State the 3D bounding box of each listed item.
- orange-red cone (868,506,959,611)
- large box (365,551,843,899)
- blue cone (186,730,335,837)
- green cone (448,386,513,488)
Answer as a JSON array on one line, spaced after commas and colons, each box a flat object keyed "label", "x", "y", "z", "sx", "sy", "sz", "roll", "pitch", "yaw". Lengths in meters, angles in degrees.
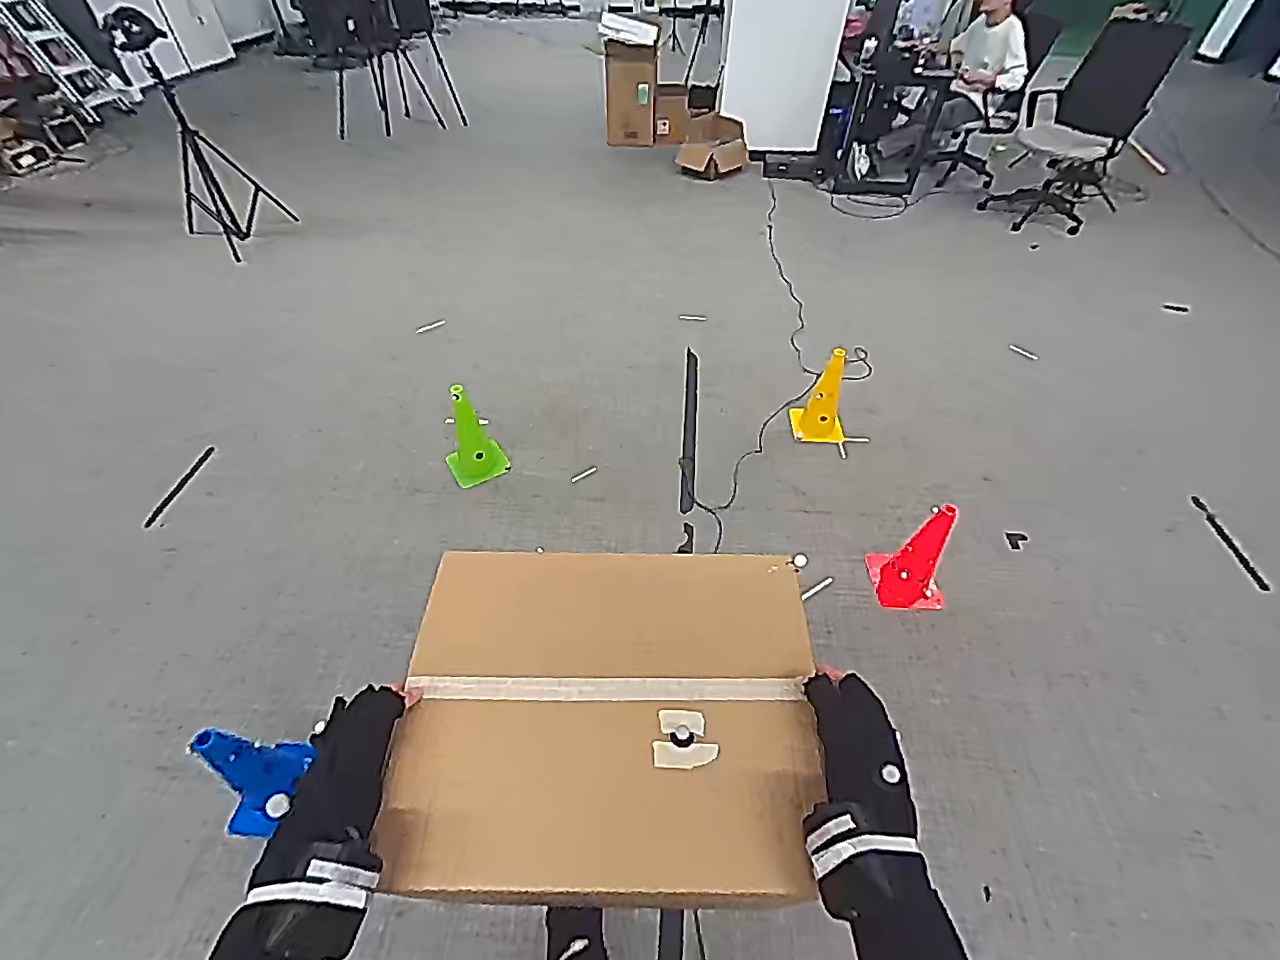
[{"label": "orange-red cone", "x": 0.838, "y": 0.203, "z": 1.587, "sx": 0.198, "sy": 0.360, "sz": 0.199, "roll": 3, "pitch": 45, "yaw": 0}, {"label": "large box", "x": -0.032, "y": 0.298, "z": 0.651, "sx": 0.408, "sy": 0.320, "sz": 0.320, "roll": 1, "pitch": 50, "yaw": 0}, {"label": "blue cone", "x": -0.852, "y": 0.631, "z": 1.182, "sx": 0.192, "sy": 0.380, "sz": 0.193, "roll": 5, "pitch": 47, "yaw": 6}, {"label": "green cone", "x": -0.610, "y": -0.184, "z": 1.930, "sx": 0.202, "sy": 0.368, "sz": 0.200, "roll": -26, "pitch": 52, "yaw": -21}]
